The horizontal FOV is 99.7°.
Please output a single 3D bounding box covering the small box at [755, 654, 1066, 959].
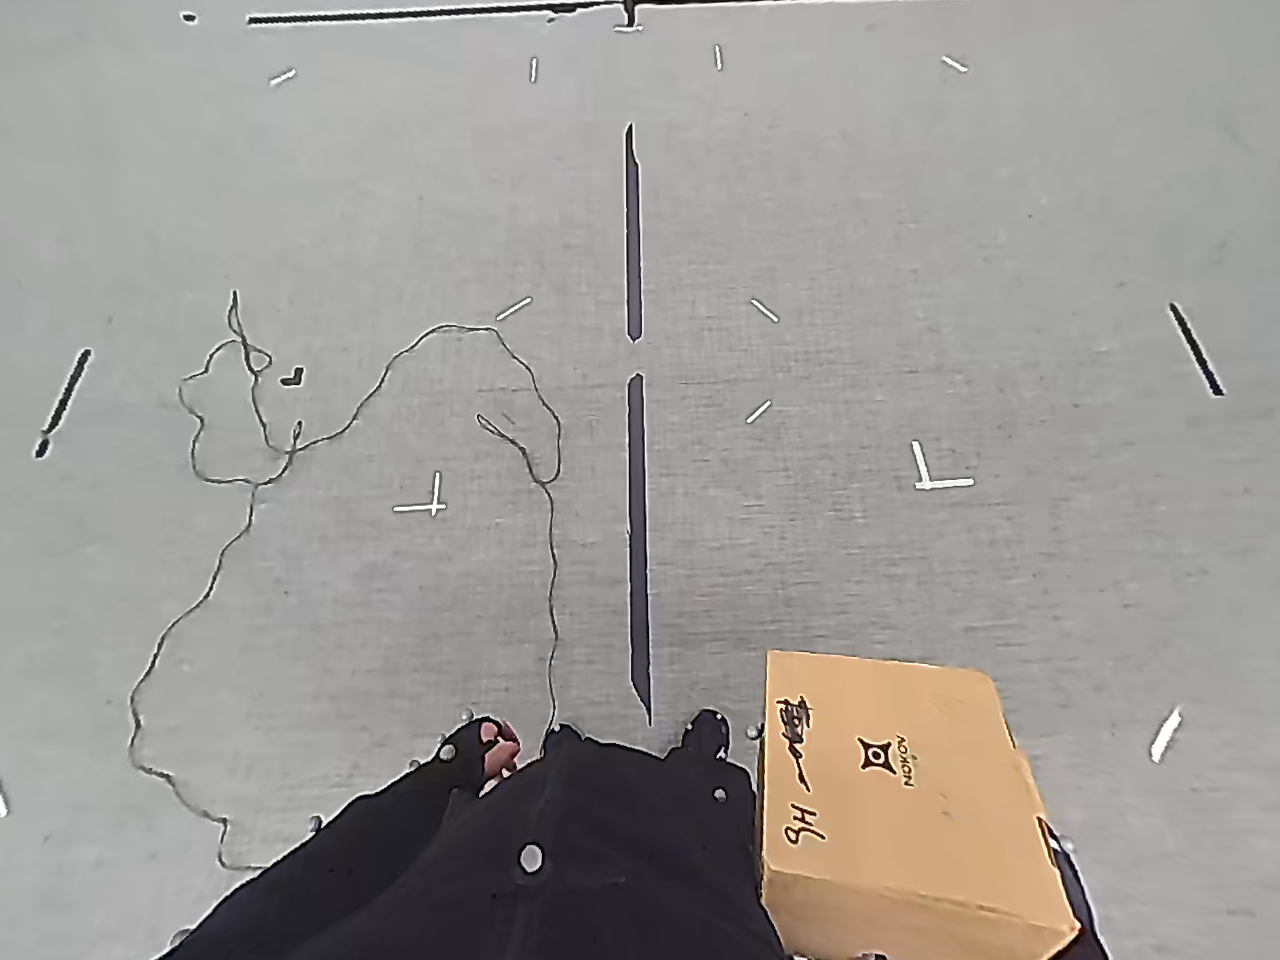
[{"bbox_3d":[0.190,0.272,0.443,0.179,0.176,0.168,3,37,12],"label":"small box"}]
